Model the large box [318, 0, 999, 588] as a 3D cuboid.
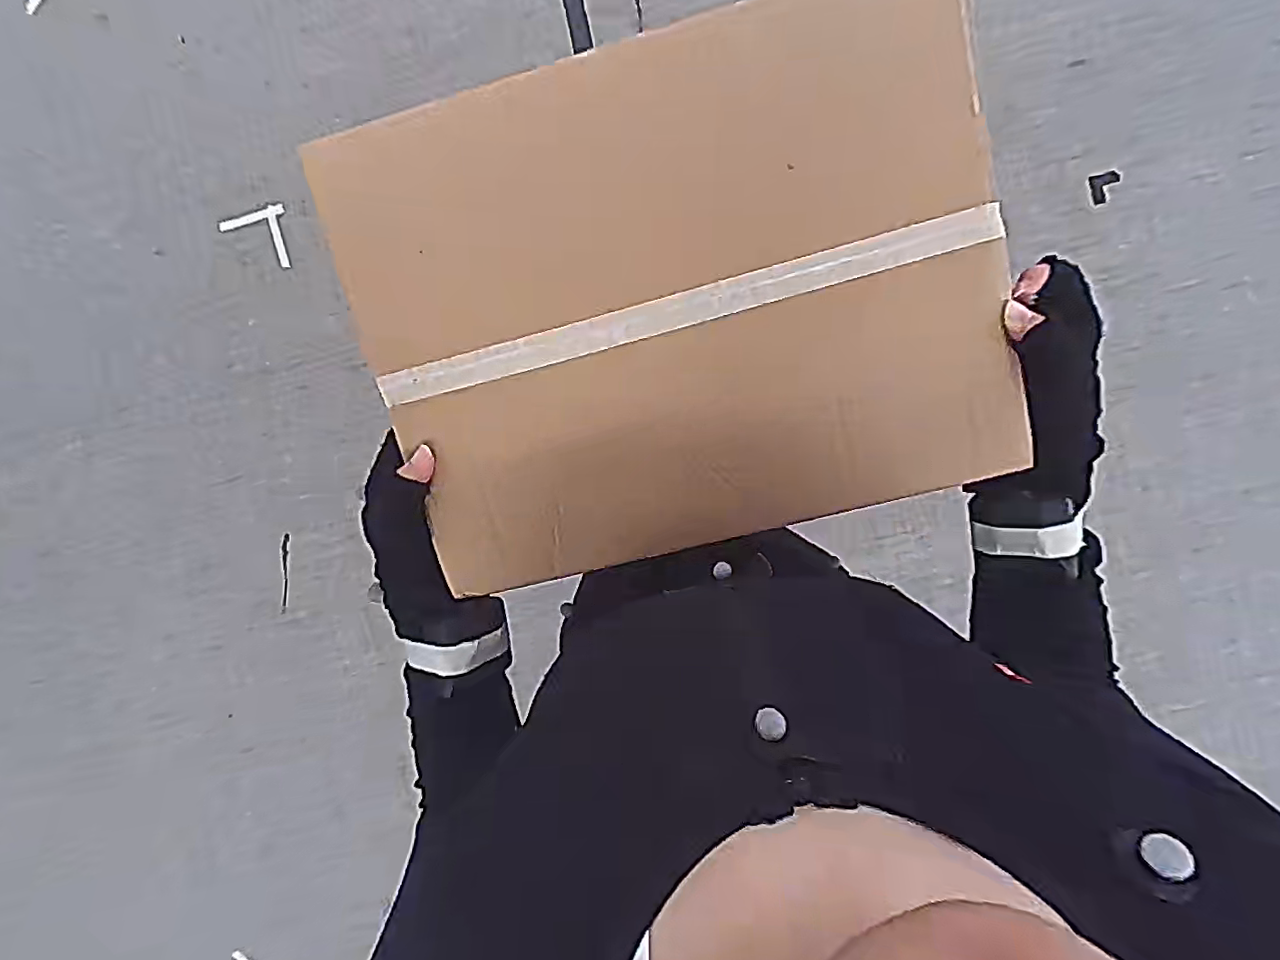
[{"bbox_3d":[0.025,-0.141,0.505,0.408,0.320,0.320,-14,100,6],"label":"large box"}]
